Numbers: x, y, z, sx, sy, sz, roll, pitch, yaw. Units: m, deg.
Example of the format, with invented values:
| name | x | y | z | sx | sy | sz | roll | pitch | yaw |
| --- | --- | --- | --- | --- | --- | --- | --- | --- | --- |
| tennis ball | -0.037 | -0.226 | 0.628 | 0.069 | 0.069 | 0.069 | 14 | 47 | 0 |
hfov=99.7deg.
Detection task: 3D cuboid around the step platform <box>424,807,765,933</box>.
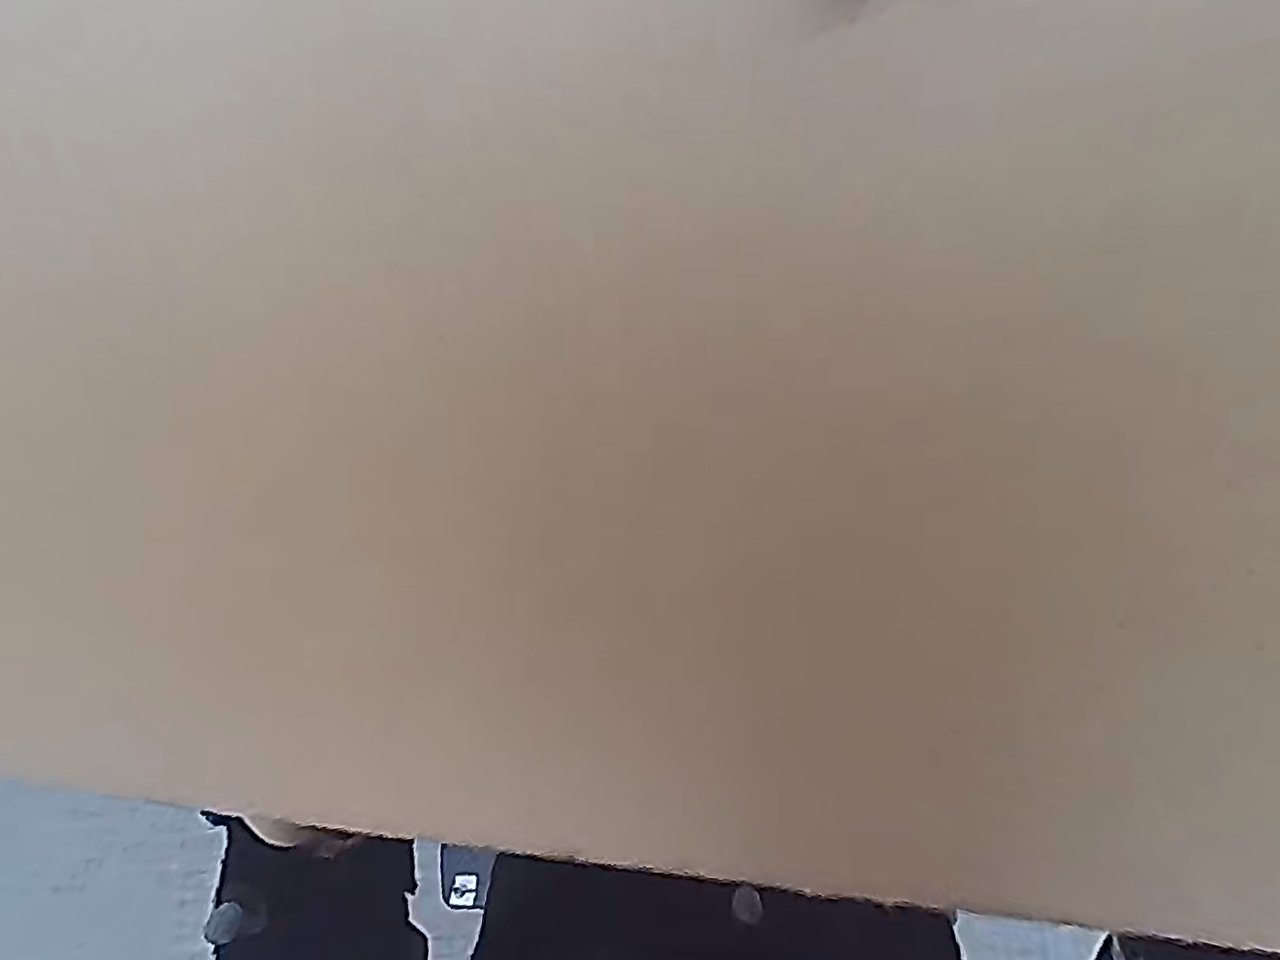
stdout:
| name | x | y | z | sx | sy | sz | roll | pitch | yaw |
| --- | --- | --- | --- | --- | --- | --- | --- | --- | --- |
| step platform | -0.086 | 0.715 | 1.134 | 0.684 | 0.204 | 0.286 | 5 | 76 | 2 |
